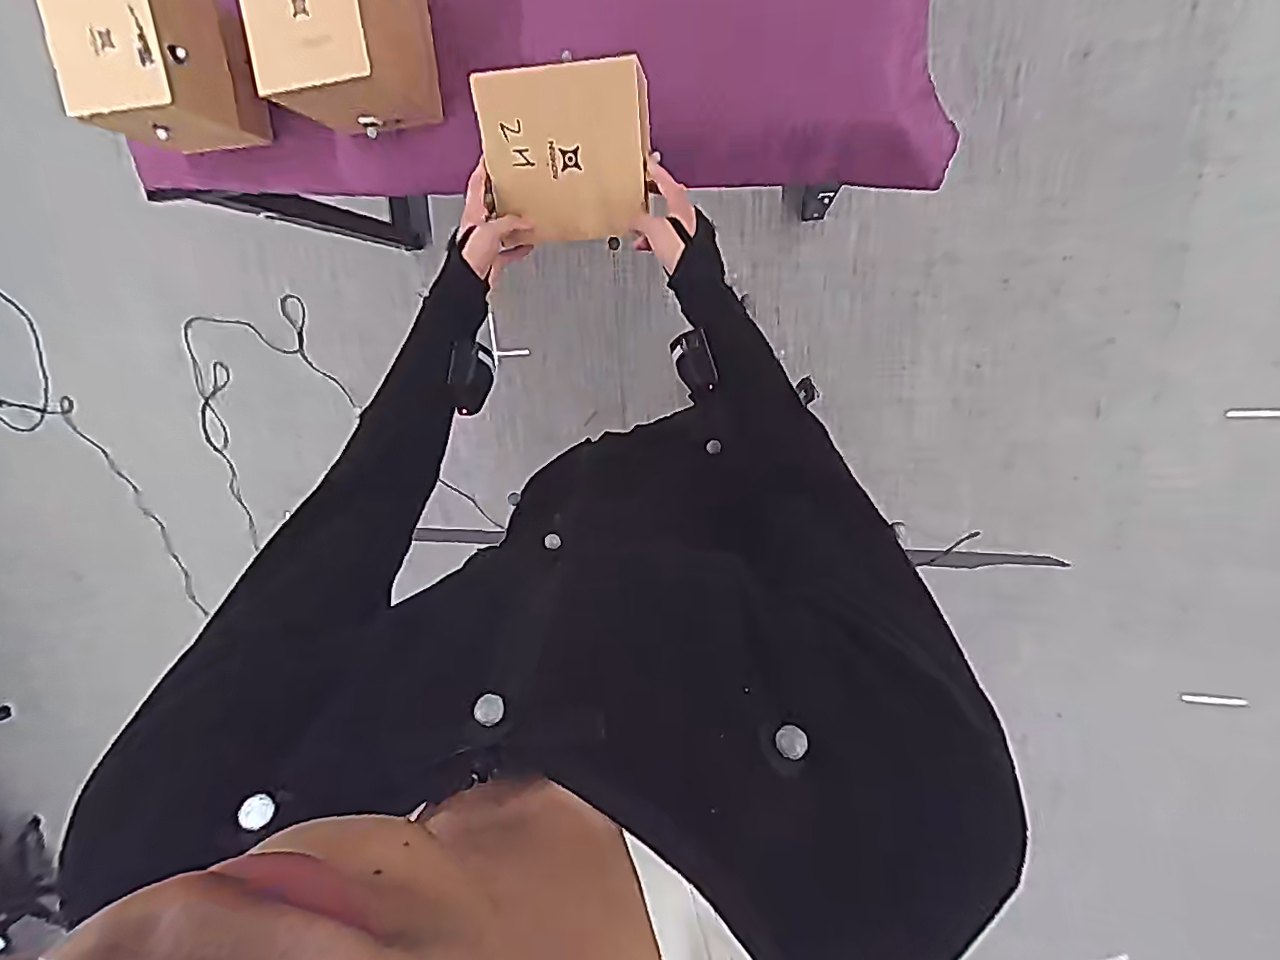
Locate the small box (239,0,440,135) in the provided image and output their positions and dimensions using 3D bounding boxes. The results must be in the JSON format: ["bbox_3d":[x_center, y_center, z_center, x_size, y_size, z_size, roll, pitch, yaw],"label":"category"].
[{"bbox_3d":[-0.394,-0.596,0.726,0.168,0.176,0.179,0,107,12],"label":"small box"}]

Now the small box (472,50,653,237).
[{"bbox_3d":[-0.075,-0.396,0.651,0.179,0.176,0.168,-1,120,7],"label":"small box"}]

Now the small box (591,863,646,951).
[{"bbox_3d":[-0.074,1.550,1.970,0.168,0.176,0.179,0,103,11],"label":"small box"}]

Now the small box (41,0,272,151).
[{"bbox_3d":[-0.685,-0.596,0.781,0.179,0.176,0.168,1,106,12],"label":"small box"}]
